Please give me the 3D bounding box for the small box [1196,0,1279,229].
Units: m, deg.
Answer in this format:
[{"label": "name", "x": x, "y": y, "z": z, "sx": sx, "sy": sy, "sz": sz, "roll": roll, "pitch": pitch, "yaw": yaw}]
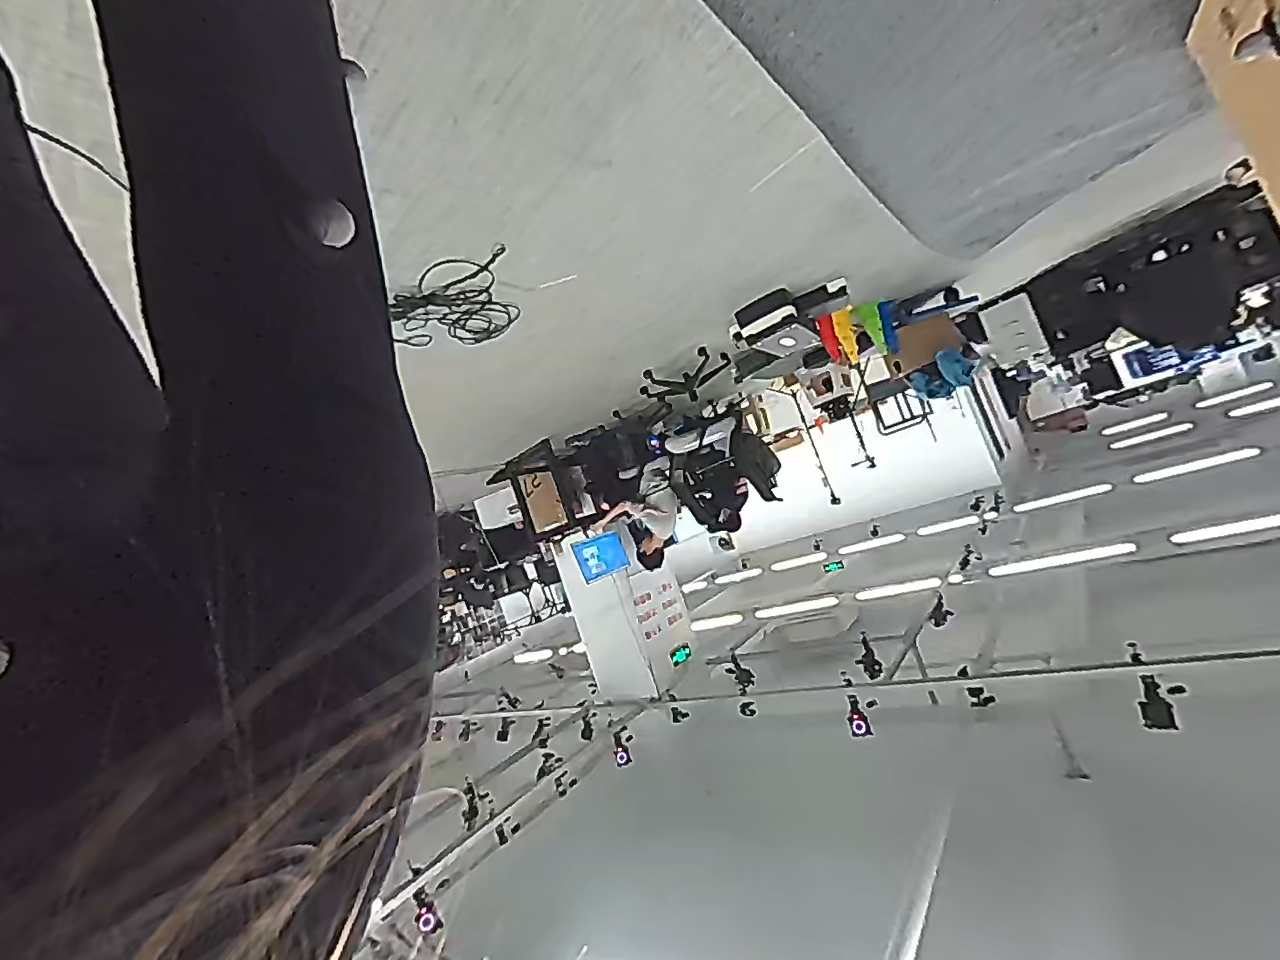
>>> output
[{"label": "small box", "x": 0.388, "y": -0.216, "z": 0.218, "sx": 0.179, "sy": 0.176, "sz": 0.168, "roll": -22, "pitch": 175, "yaw": 38}]
